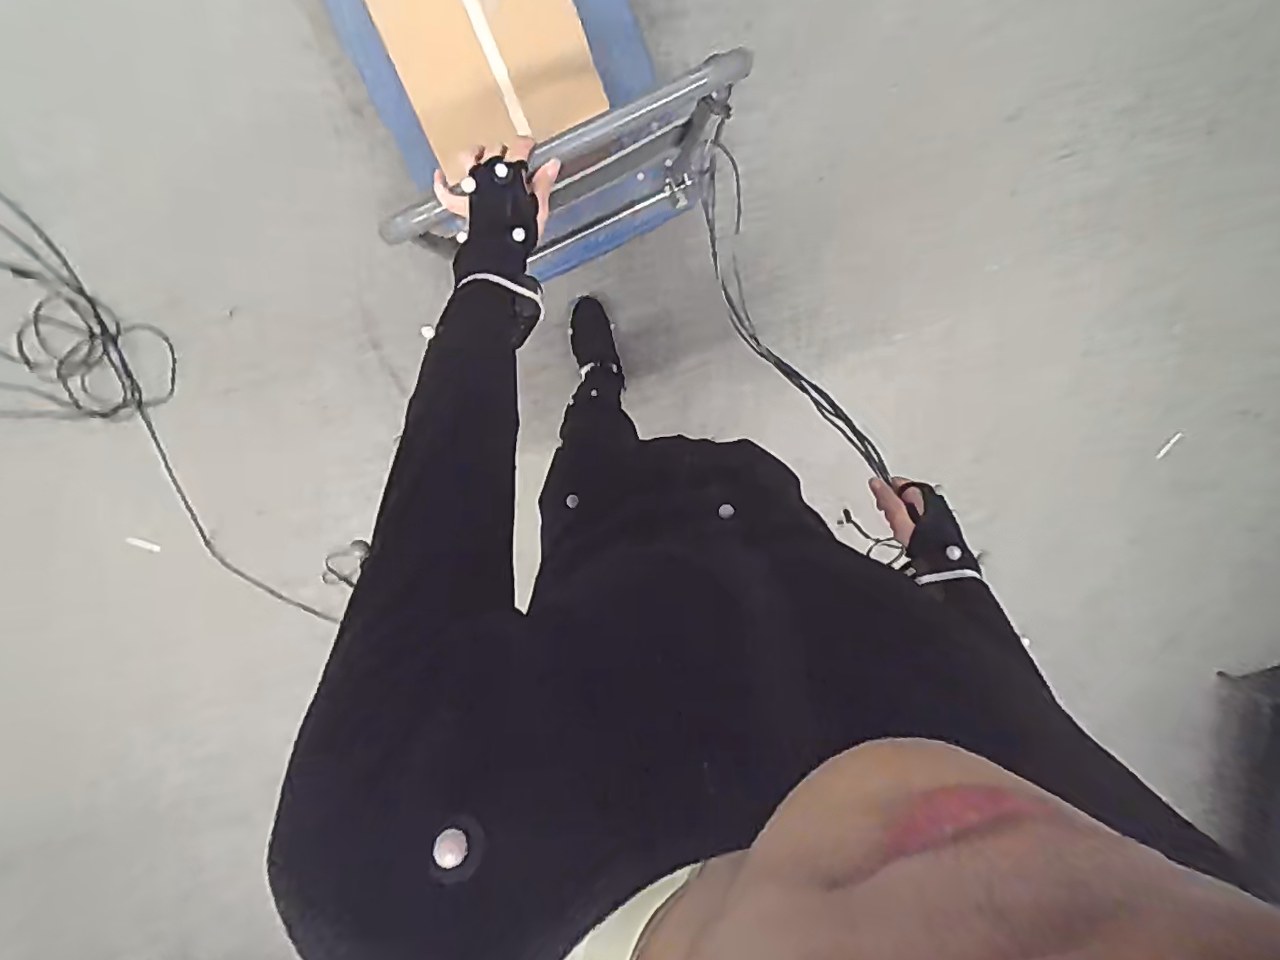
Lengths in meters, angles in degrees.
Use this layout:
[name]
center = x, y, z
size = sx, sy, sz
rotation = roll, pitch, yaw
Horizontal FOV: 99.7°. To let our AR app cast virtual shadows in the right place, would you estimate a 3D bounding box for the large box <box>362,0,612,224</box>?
[large box]
center = -0.270, -0.775, 1.040
size = 0.320, 0.320, 0.408
rotation = -22, 106, 3
